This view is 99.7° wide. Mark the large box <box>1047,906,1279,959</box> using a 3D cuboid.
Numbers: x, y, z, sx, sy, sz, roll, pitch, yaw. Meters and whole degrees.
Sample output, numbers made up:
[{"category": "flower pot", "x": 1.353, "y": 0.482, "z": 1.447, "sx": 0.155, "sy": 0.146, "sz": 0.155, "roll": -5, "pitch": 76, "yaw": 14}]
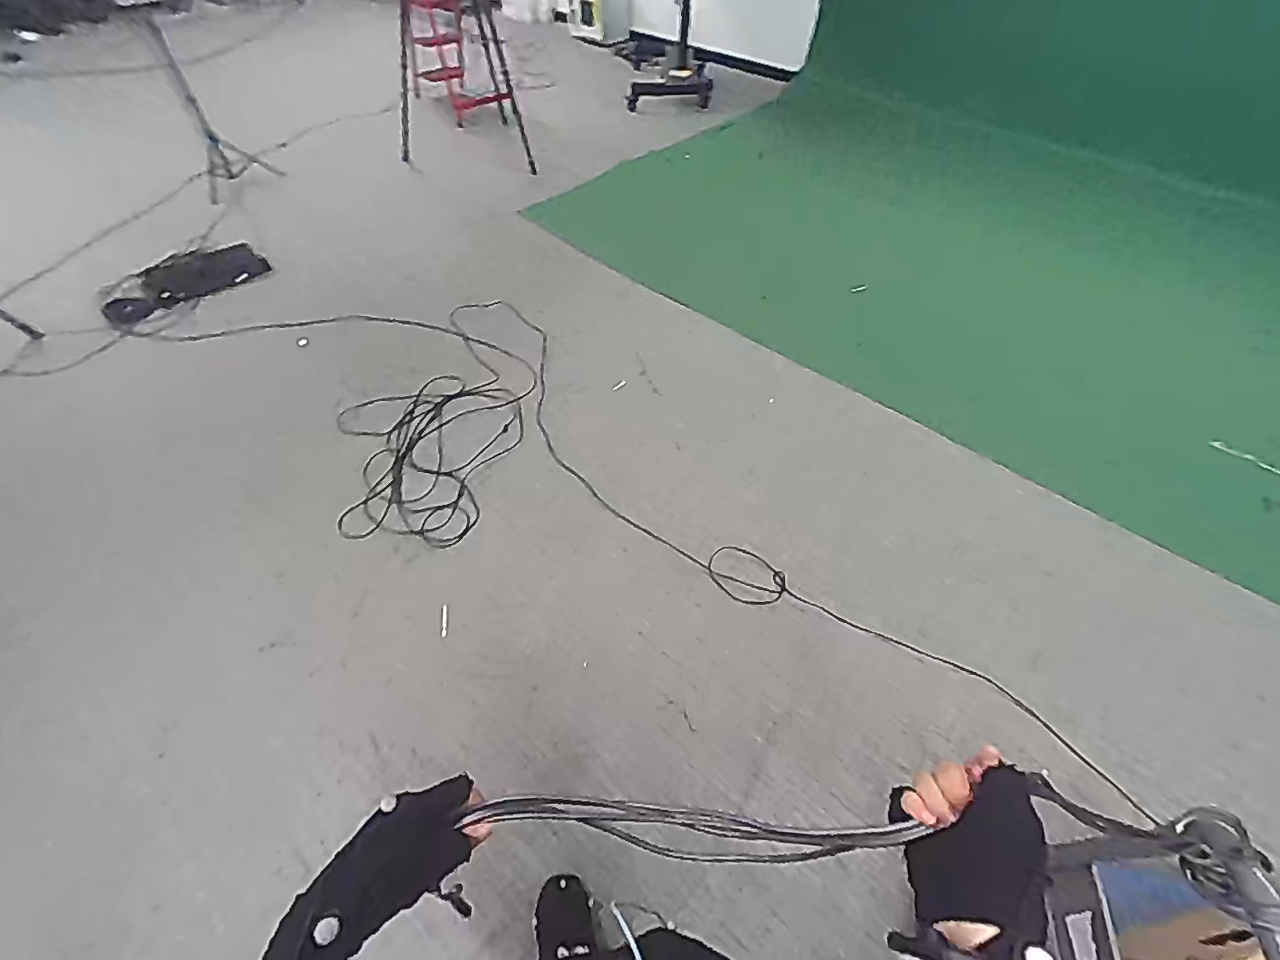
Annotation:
[{"category": "large box", "x": 0.931, "y": 0.903, "z": 0.779, "sx": 0.320, "sy": 0.320, "sz": 0.408, "roll": -8, "pitch": 52, "yaw": -9}]
